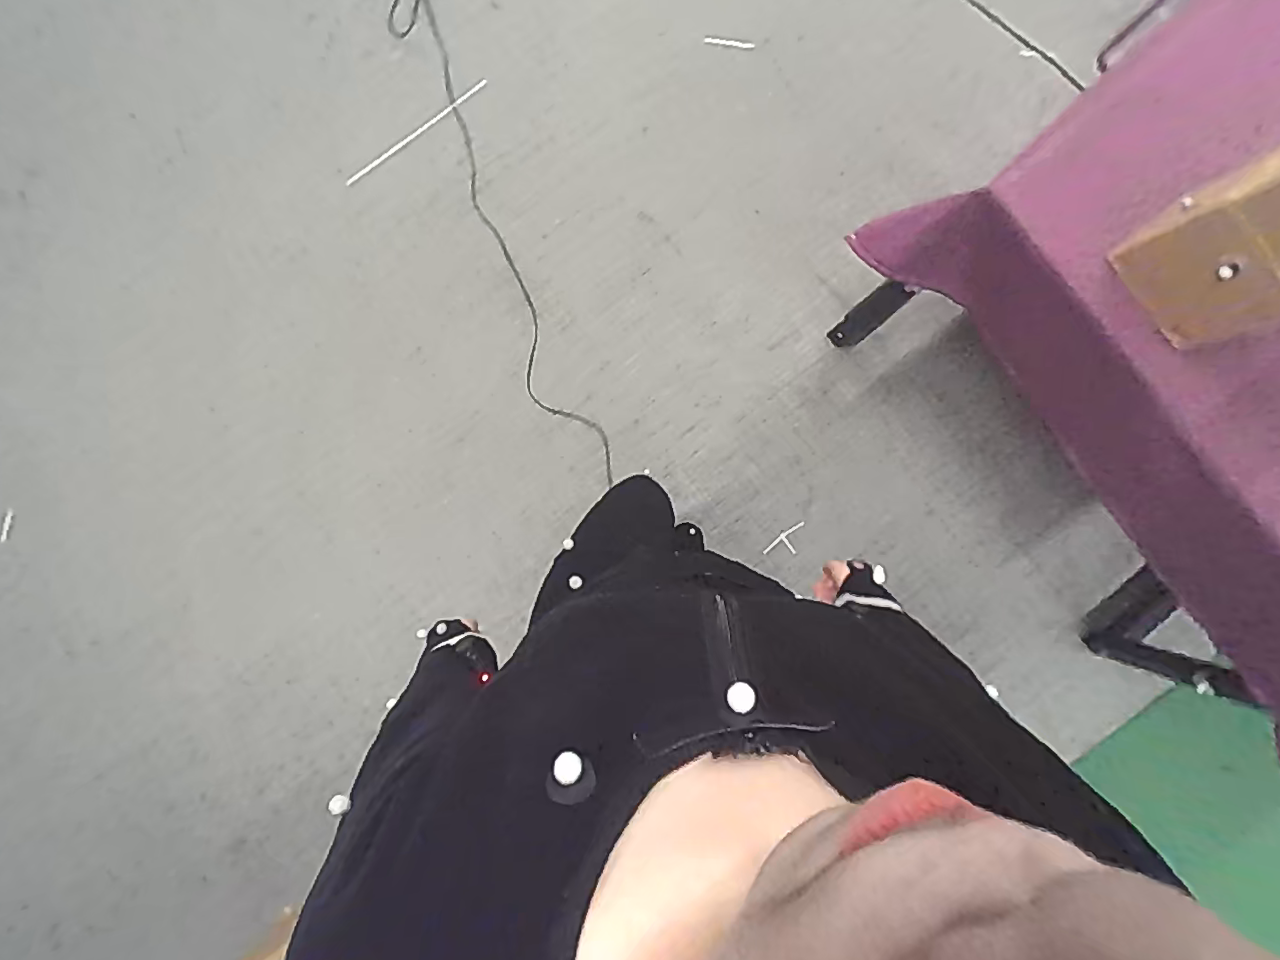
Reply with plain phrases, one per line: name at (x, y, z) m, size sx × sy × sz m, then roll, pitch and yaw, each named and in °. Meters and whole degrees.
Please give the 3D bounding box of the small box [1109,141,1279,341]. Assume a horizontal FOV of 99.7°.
small box at (0.797, -0.314, 0.720) m, size 0.168 × 0.176 × 0.179 m, roll -36°, pitch 90°, yaw -1°

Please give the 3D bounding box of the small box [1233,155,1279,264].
small box at (0.806, -0.314, 0.557) m, size 0.168 × 0.176 × 0.179 m, roll -37°, pitch 89°, yaw -1°
